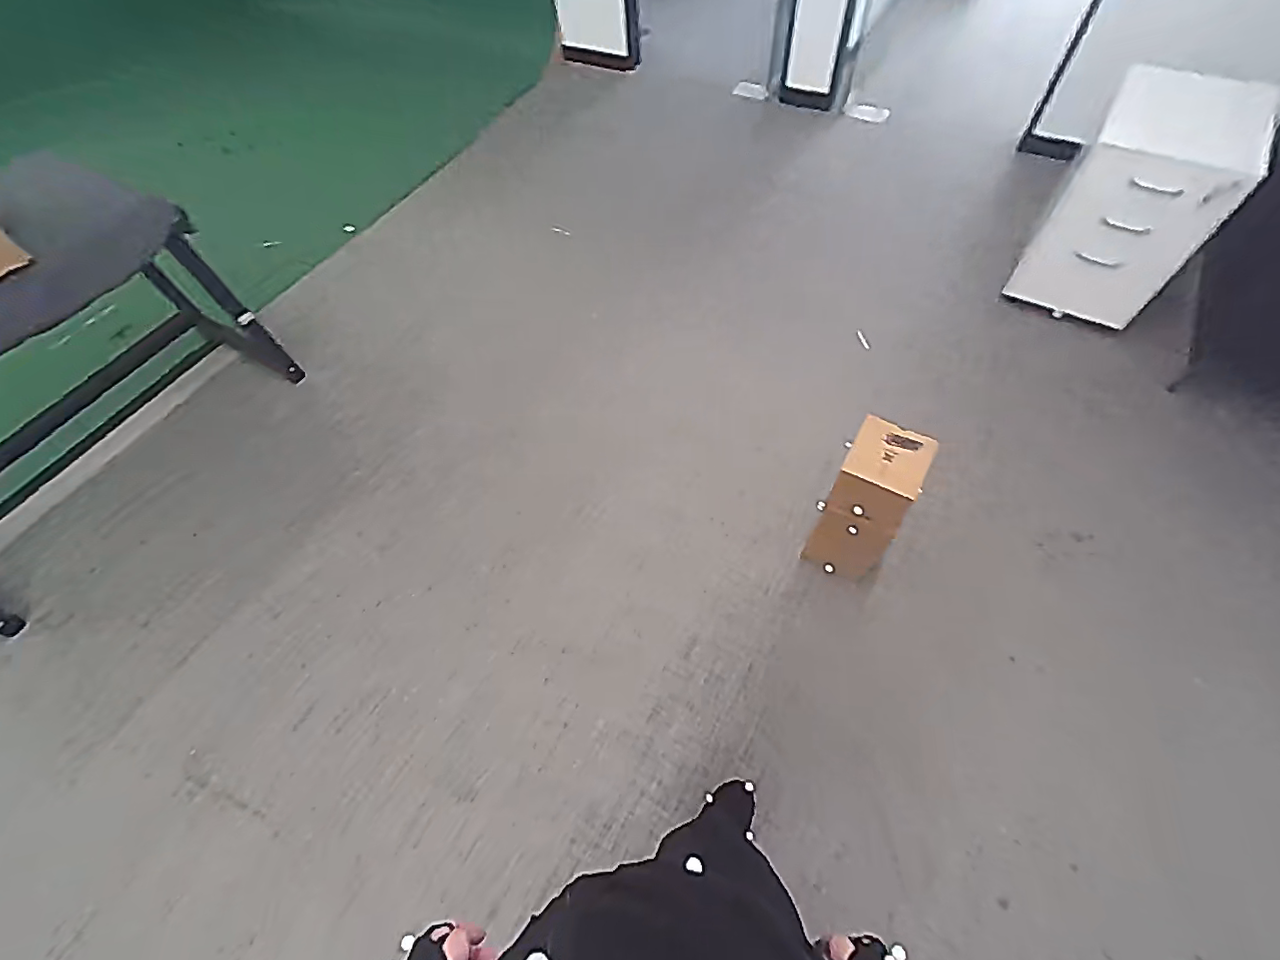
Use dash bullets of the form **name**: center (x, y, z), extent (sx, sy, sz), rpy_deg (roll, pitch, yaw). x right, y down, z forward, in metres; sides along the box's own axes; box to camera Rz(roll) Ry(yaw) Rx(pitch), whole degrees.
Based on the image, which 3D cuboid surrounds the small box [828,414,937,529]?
- **small box**: center (0.564, -0.018, 1.277), extent (0.168, 0.176, 0.179), rpy_deg (26, 65, 19)

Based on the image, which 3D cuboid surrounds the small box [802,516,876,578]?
- **small box**: center (0.589, 0.160, 1.551), extent (0.179, 0.176, 0.168), rpy_deg (27, 64, 18)

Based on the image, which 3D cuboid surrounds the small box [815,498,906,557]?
- **small box**: center (0.579, 0.077, 1.411), extent (0.179, 0.176, 0.168), rpy_deg (26, 64, 17)
